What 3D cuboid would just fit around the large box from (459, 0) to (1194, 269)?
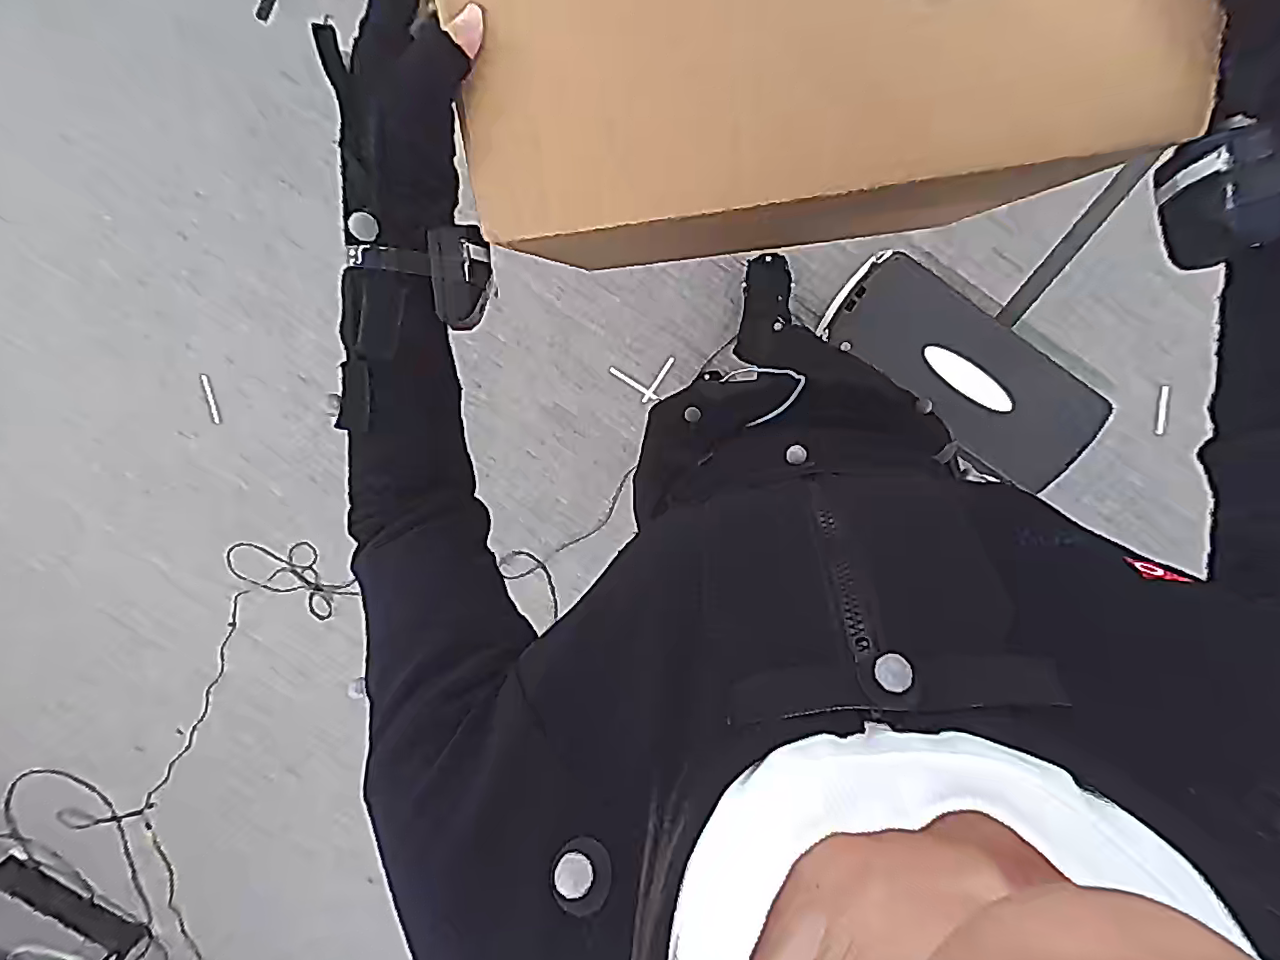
[{"bbox_3d":[0.098,-0.368,0.426,0.408,0.320,0.320,-5,107,7],"label":"large box"}]
